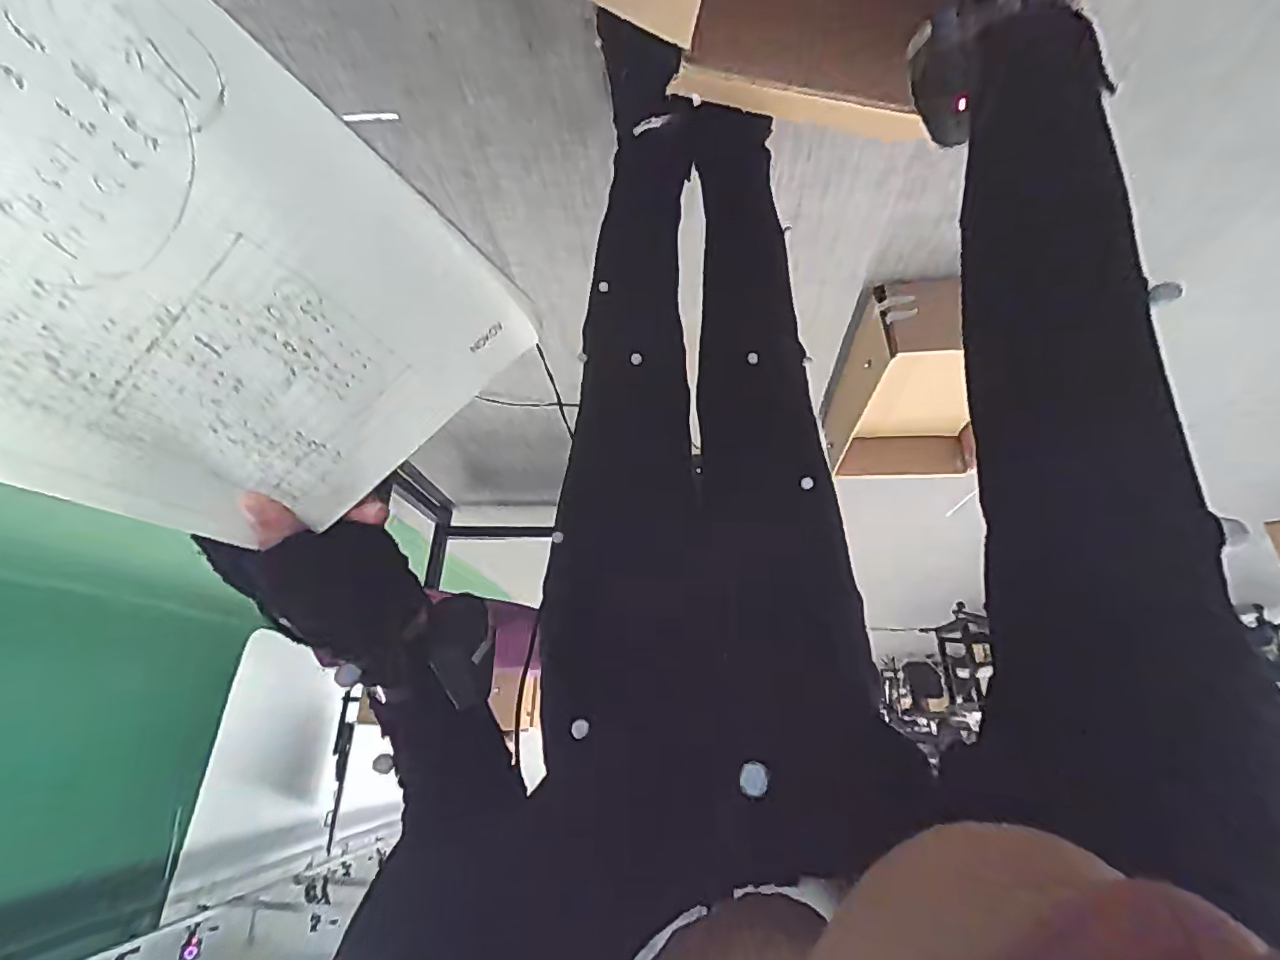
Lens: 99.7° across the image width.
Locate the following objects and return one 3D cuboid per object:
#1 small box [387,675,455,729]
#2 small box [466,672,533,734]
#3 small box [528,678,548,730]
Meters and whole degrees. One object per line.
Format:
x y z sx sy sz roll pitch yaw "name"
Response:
-0.767 0.786 1.909 0.168 0.176 0.179 3 155 -3 "small box"
-0.435 0.702 1.702 0.168 0.176 0.179 1 156 -1 "small box"
-0.427 0.792 1.912 0.168 0.176 0.179 -1 156 4 "small box"
